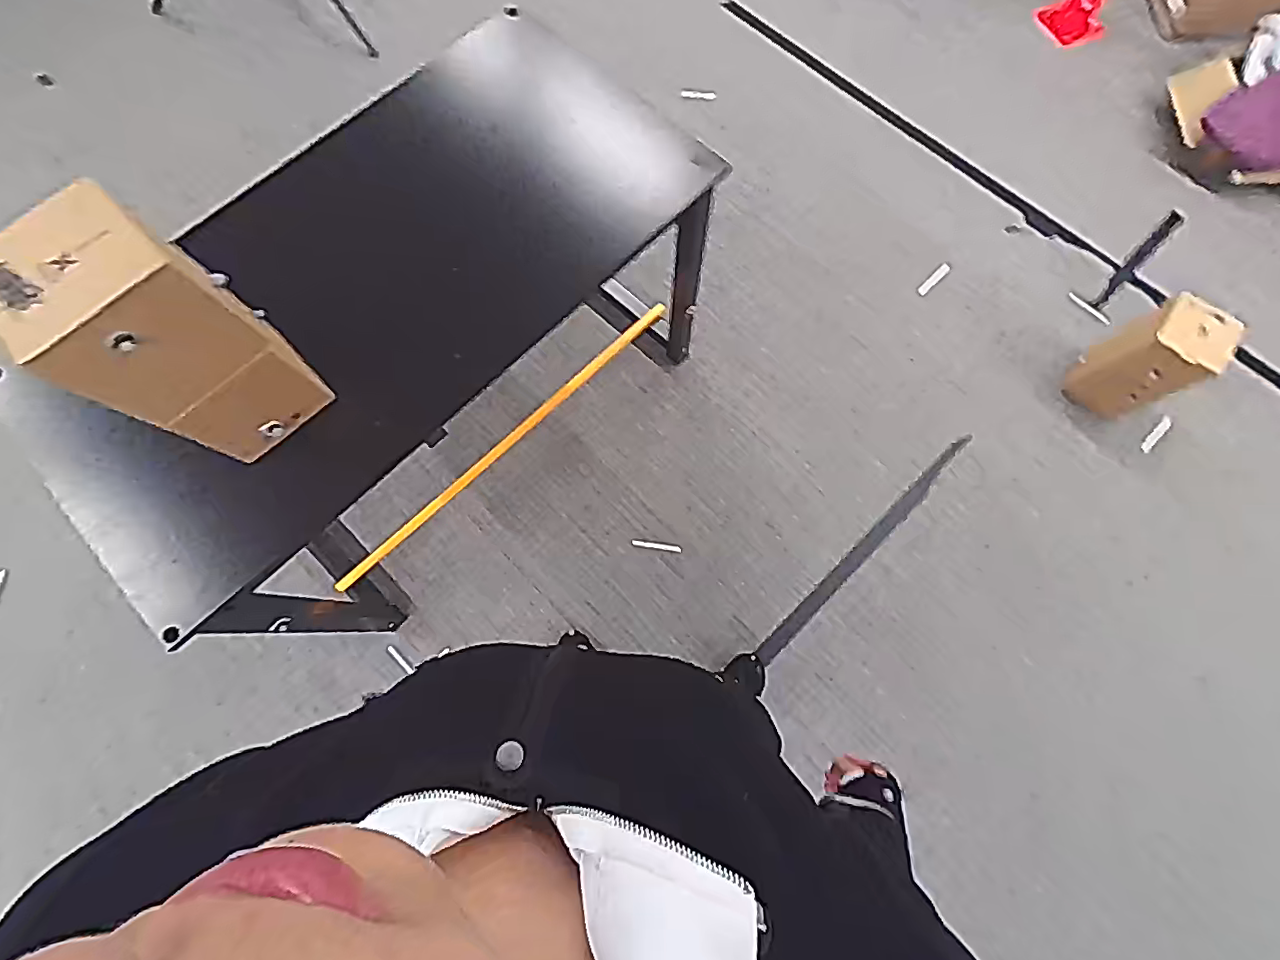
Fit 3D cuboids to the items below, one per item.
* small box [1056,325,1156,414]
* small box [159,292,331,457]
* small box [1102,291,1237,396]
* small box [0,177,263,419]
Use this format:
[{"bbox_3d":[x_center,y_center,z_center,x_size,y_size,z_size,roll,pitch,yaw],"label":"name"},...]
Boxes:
[{"bbox_3d":[1.401,-0.315,1.598,0.179,0.176,0.168,38,78,9],"label":"small box"},{"bbox_3d":[-0.615,-0.160,0.806,0.179,0.176,0.168,44,80,10],"label":"small box"},{"bbox_3d":[1.394,-0.353,1.439,0.168,0.176,0.179,37,79,9],"label":"small box"},{"bbox_3d":[-0.614,-0.203,0.647,0.168,0.176,0.179,43,79,11],"label":"small box"}]
